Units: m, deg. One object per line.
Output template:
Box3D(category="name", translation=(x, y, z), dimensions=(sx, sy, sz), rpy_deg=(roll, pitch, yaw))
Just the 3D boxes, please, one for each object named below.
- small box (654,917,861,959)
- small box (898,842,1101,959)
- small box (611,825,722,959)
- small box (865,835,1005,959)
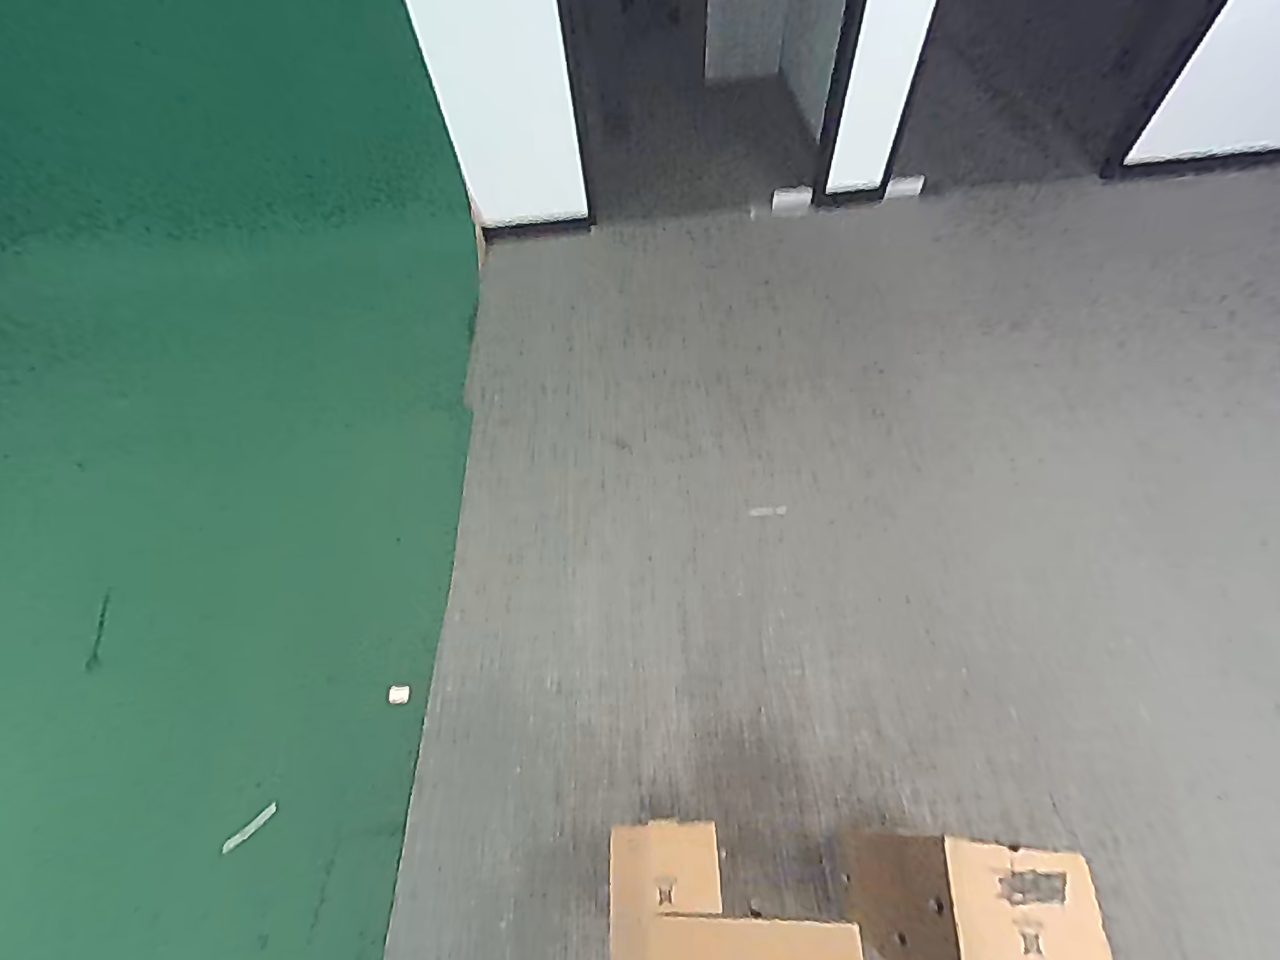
Box3D(category="small box", translation=(0.097, 0.479, 0.447), dimensions=(0.168, 0.176, 0.179), rpy_deg=(-3, 53, 7))
Box3D(category="small box", translation=(0.449, 0.580, 0.694), dimensions=(0.168, 0.176, 0.179), rpy_deg=(4, 59, 7))
Box3D(category="small box", translation=(0.044, 0.663, 0.869), dimensions=(0.168, 0.176, 0.179), rpy_deg=(-4, 57, 3))
Box3D(category="small box", translation=(0.461, 0.662, 0.837), dimensions=(0.168, 0.176, 0.179), rpy_deg=(2, 58, 6))
